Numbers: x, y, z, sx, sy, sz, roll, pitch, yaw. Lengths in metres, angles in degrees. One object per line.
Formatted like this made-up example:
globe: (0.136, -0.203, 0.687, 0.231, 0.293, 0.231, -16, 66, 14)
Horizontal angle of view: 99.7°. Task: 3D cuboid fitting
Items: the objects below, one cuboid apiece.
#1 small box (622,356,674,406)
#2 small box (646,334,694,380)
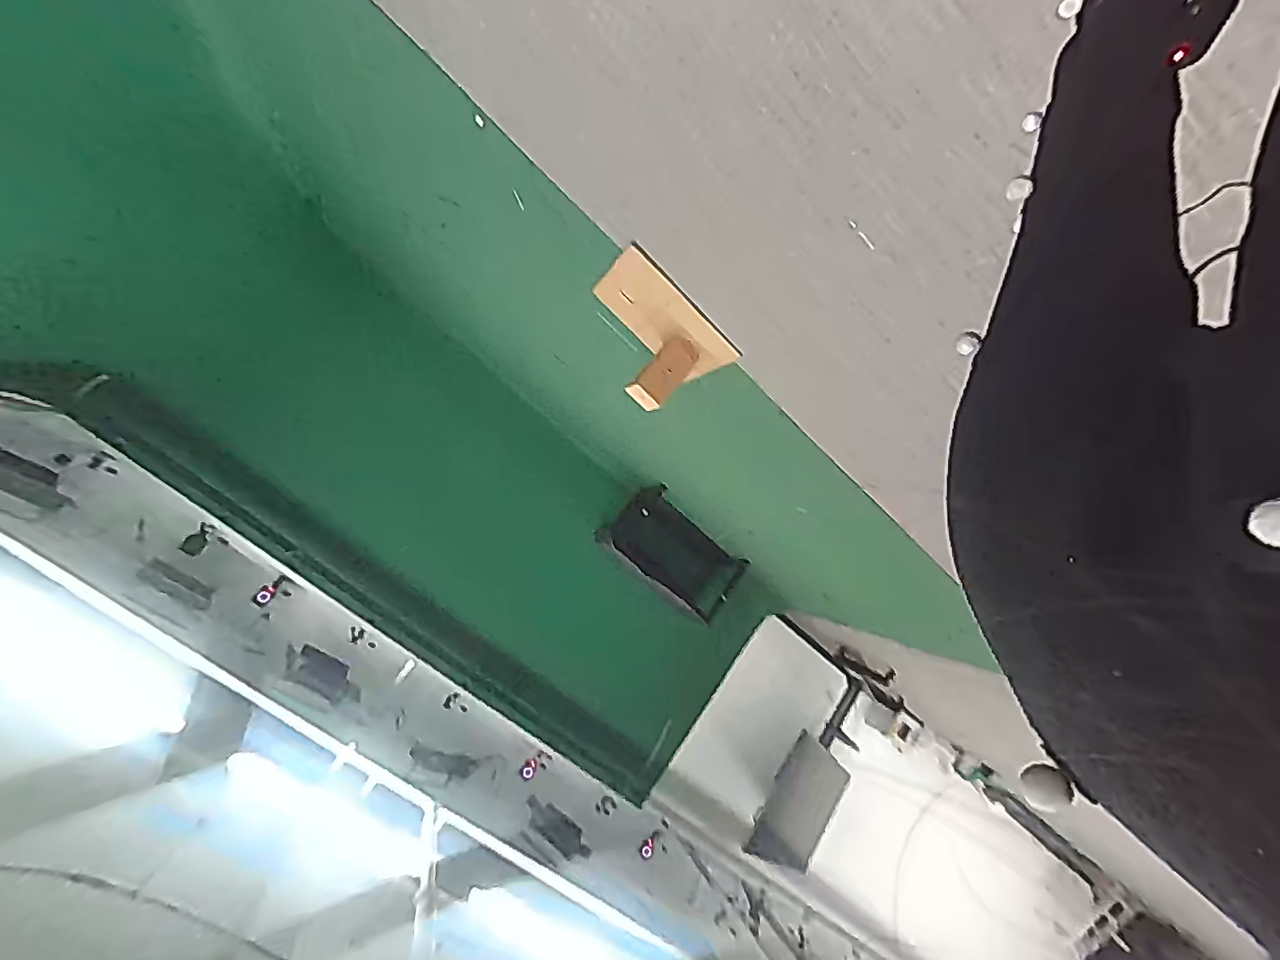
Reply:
small box: (0.043, -0.494, 2.703, 0.168, 0.176, 0.179, 42, 165, -18)
small box: (0.148, -0.615, 2.732, 0.168, 0.176, 0.179, 41, 166, -17)
